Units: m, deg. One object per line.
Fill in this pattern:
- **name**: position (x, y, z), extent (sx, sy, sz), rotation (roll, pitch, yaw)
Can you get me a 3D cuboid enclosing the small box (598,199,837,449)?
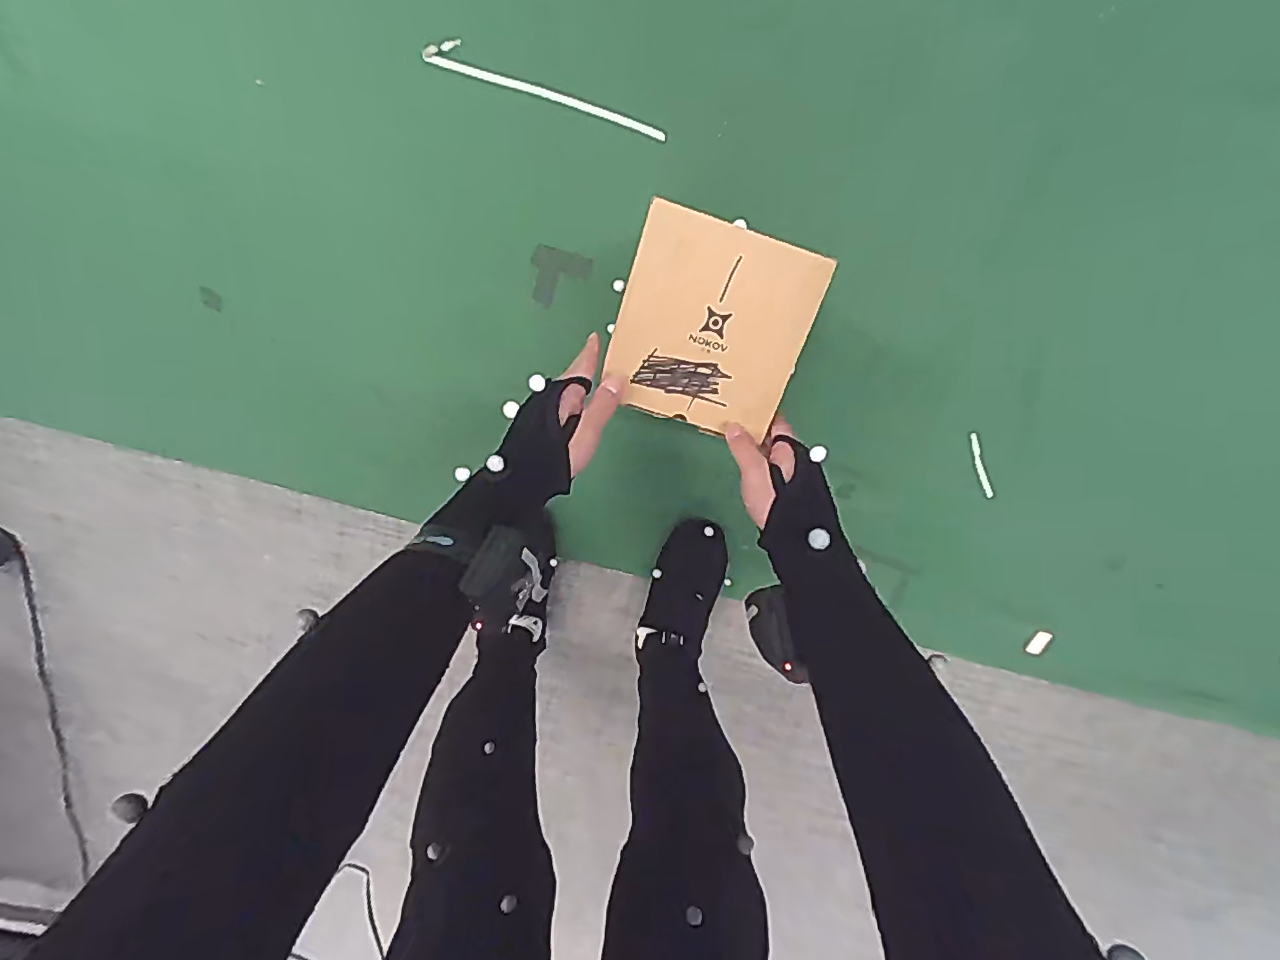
- **small box**: position (0.066, -0.157, 0.549), extent (0.168, 0.176, 0.179), rotation (17, 110, -6)
